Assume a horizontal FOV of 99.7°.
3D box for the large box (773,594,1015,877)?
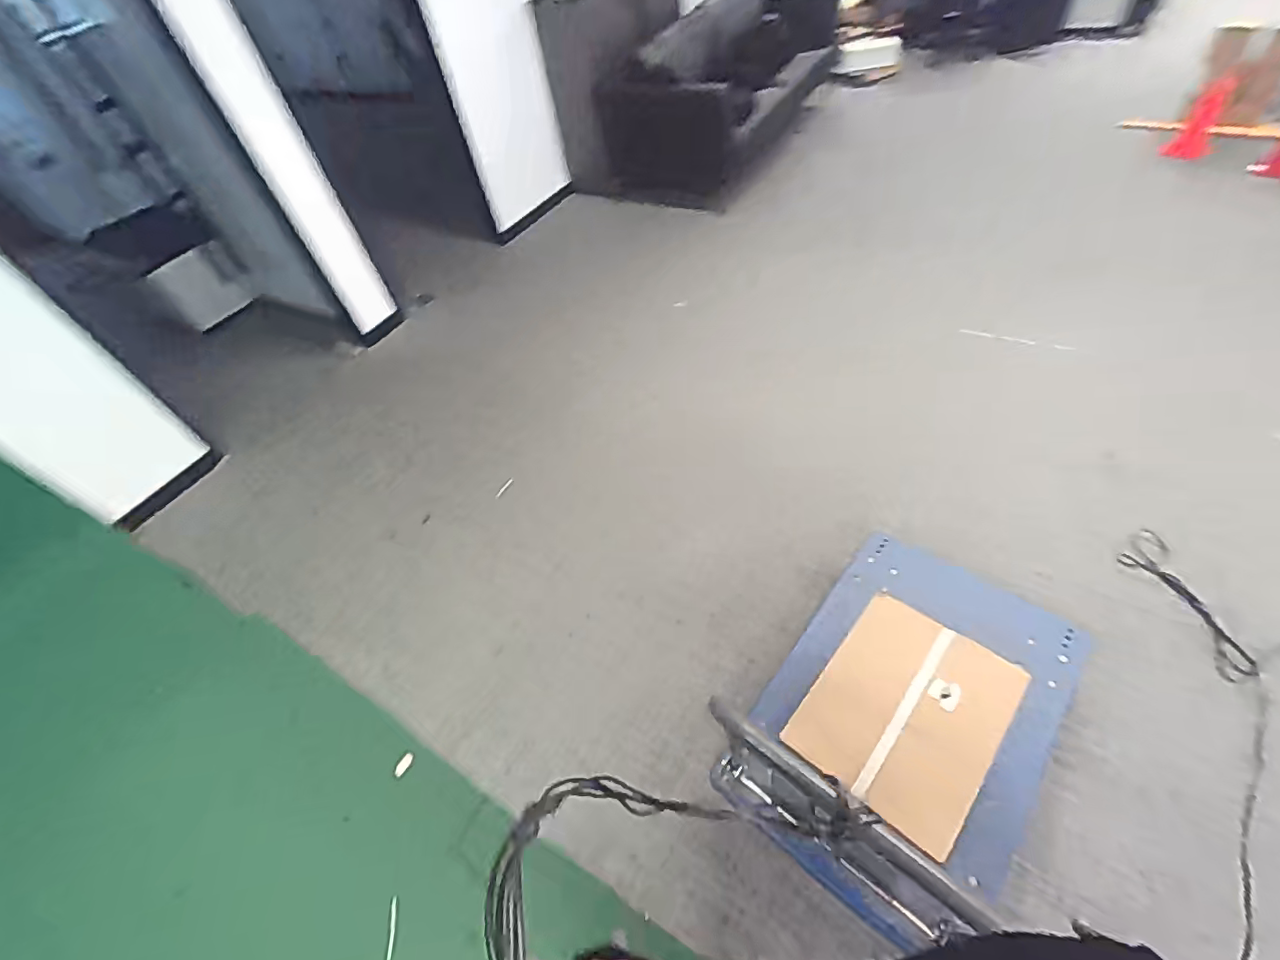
[{"bbox_3d":[0.525,0.542,1.170,0.320,0.320,0.408,30,60,30],"label":"large box"}]
